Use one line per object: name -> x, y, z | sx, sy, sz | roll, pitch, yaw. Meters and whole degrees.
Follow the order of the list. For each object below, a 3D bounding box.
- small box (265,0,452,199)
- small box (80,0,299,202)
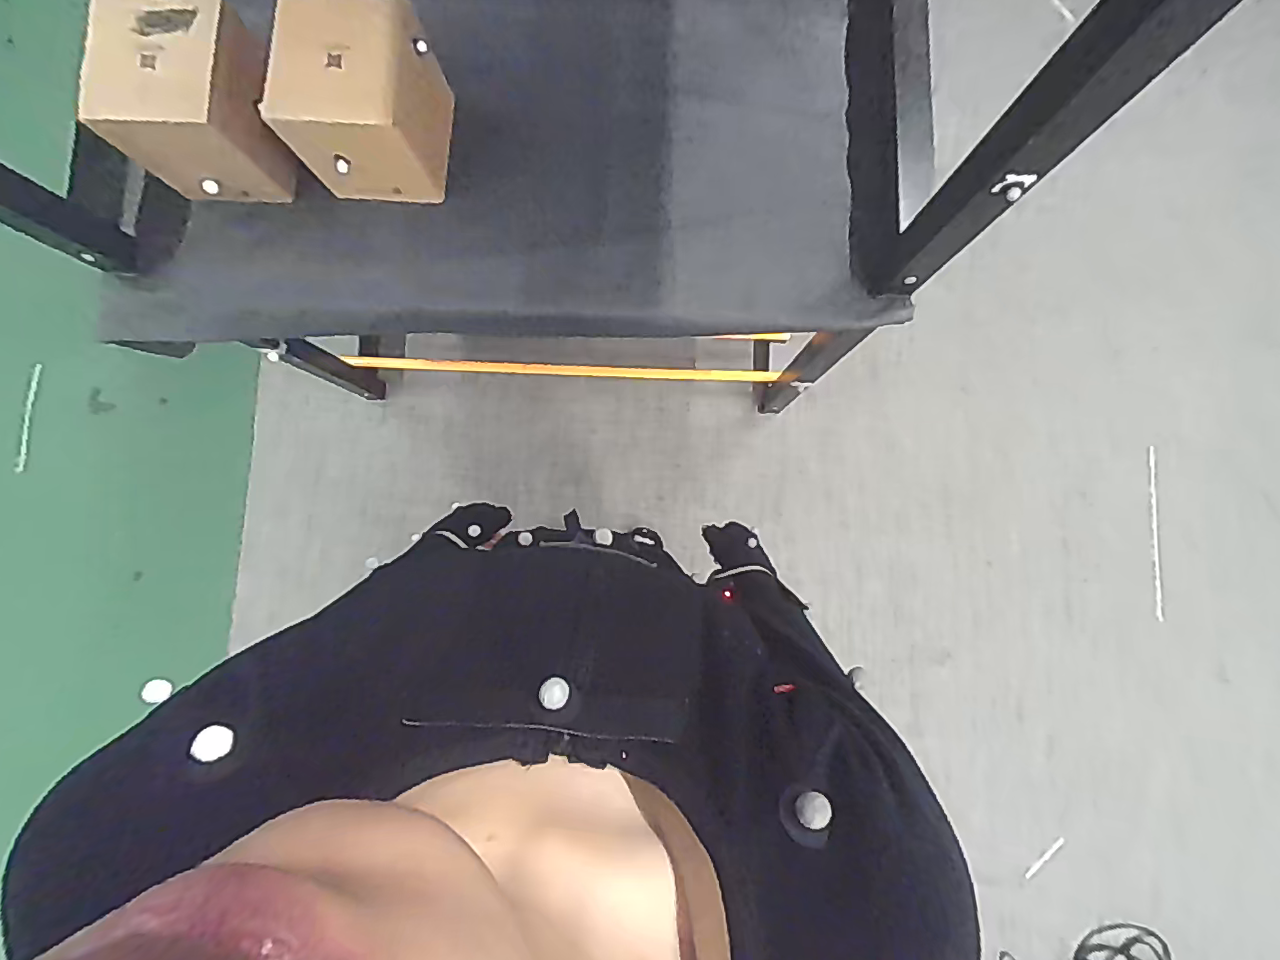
small box -> -0.375, -0.520, 0.752 | 0.168, 0.176, 0.179 | 3, 84, 1
small box -> -0.603, -0.522, 0.752 | 0.168, 0.176, 0.179 | 2, 85, 0
